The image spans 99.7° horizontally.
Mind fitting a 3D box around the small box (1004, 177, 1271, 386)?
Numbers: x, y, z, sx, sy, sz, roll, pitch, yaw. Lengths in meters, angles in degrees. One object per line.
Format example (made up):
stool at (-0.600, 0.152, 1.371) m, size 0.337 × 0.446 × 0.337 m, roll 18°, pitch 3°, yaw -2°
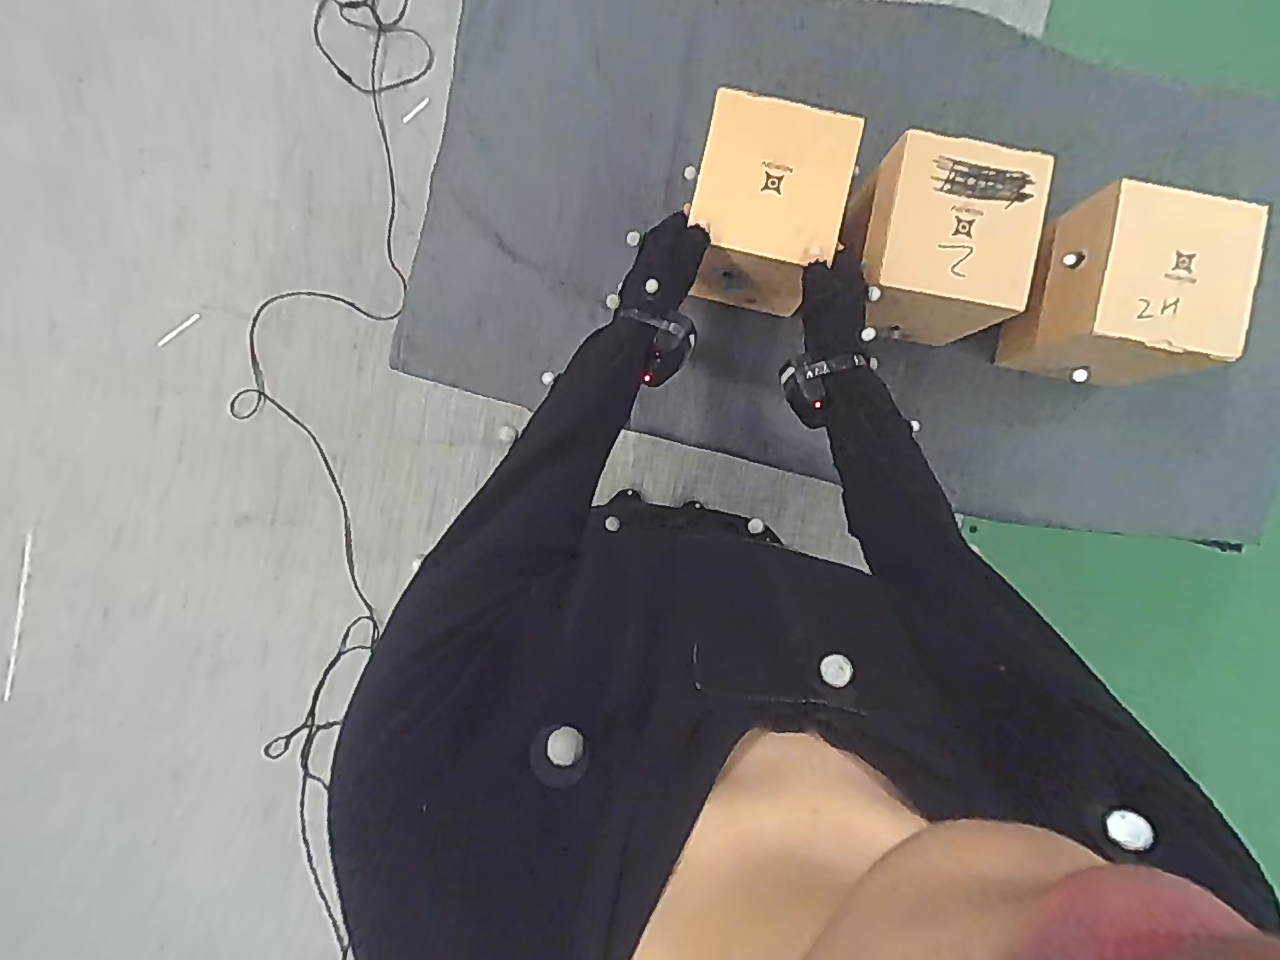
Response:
small box at (0.592, -0.230, 0.668) m, size 0.168 × 0.176 × 0.179 m, roll 11°, pitch 90°, yaw 1°
